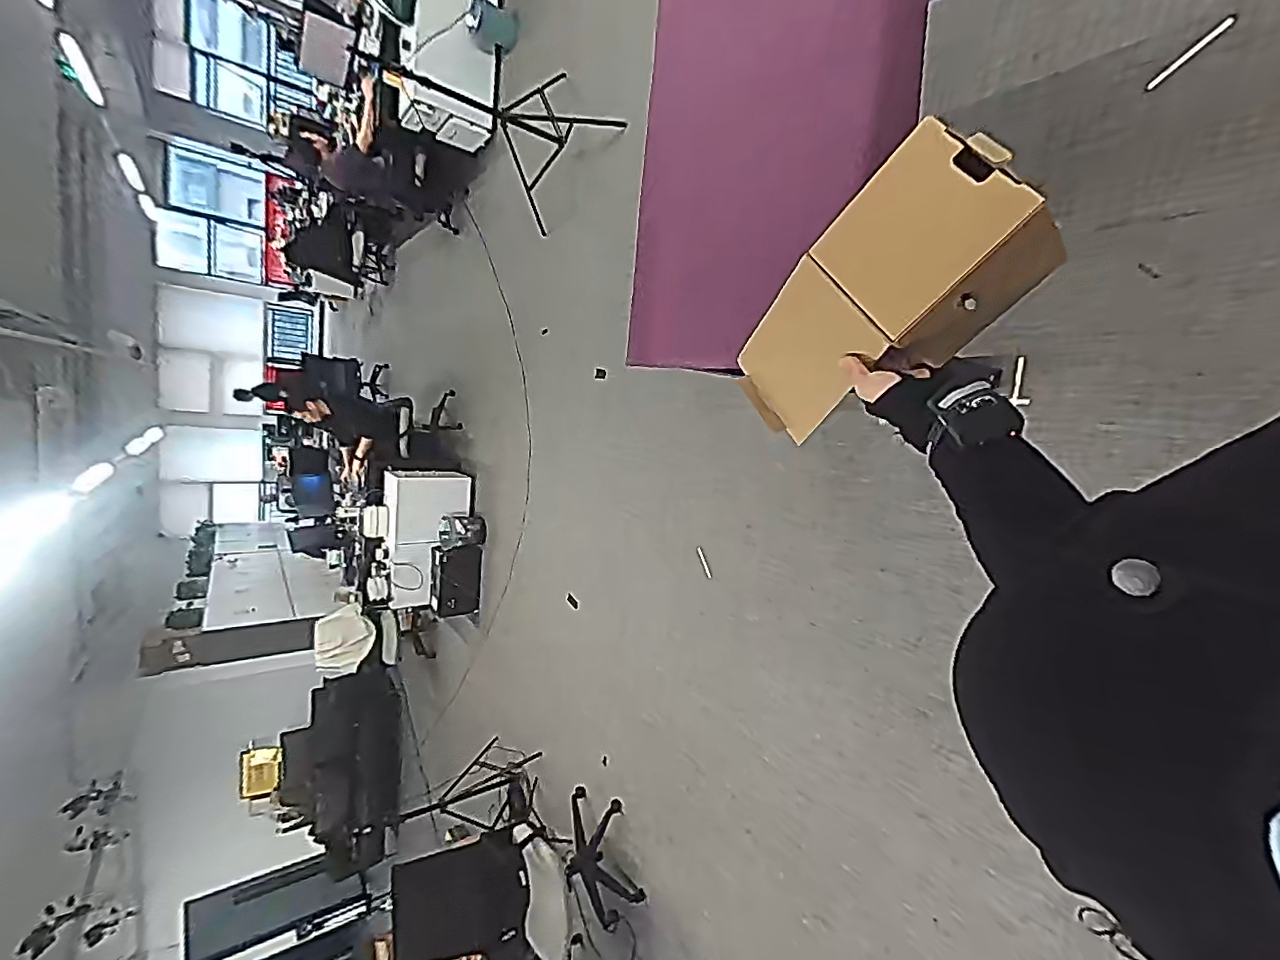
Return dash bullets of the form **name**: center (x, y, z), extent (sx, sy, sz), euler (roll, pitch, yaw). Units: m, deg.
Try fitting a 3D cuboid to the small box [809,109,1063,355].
- **small box**: center (0.342, -0.270, 0.630), extent (0.179, 0.176, 0.168), euler (-48, 57, 33)
